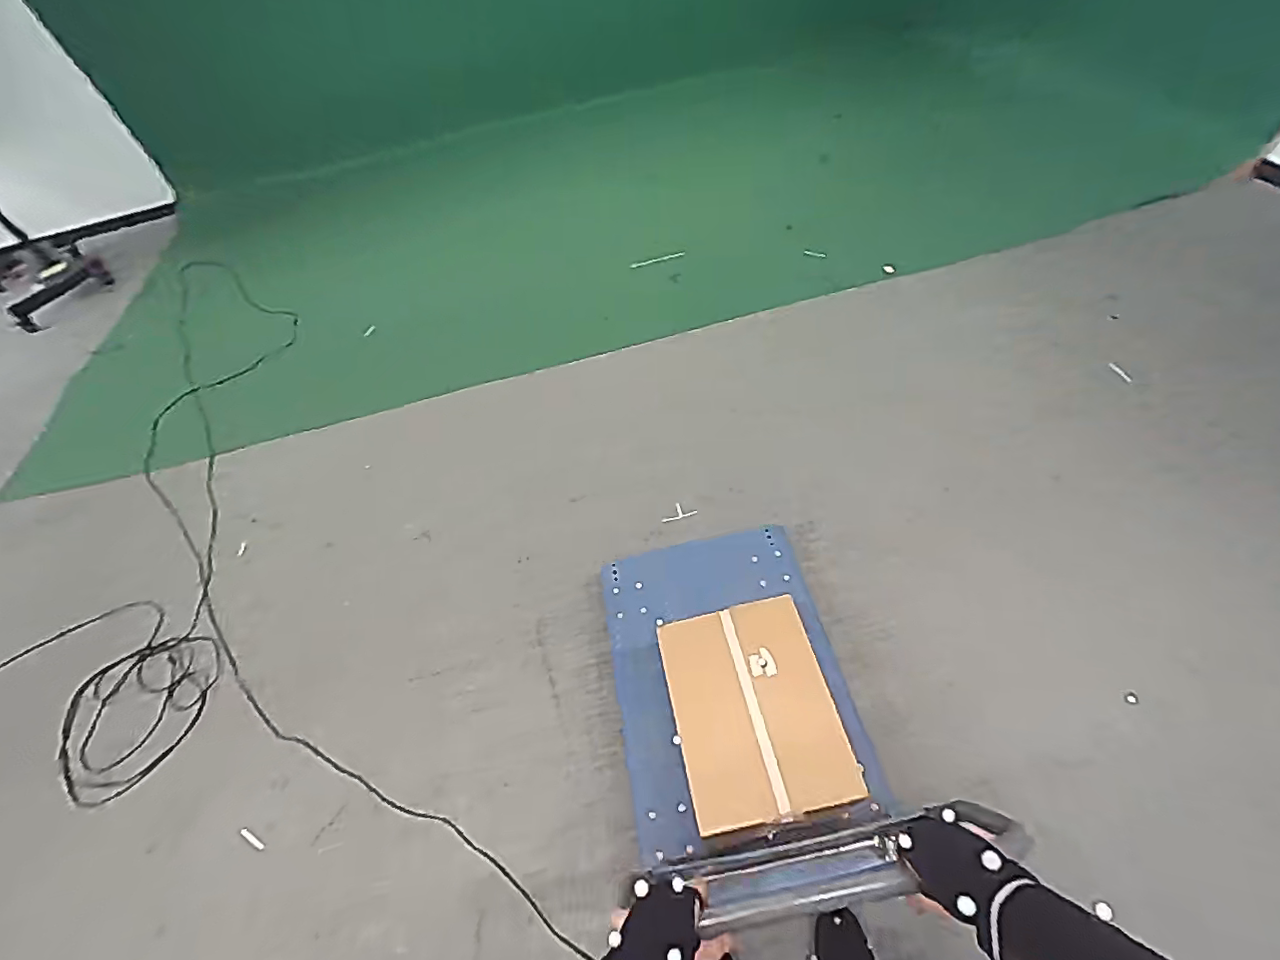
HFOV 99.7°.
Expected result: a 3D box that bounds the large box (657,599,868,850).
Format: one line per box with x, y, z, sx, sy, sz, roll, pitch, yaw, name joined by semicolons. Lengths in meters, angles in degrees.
0.248;0.541;1.200;0.320;0.320;0.408;-13;51;0;large box
